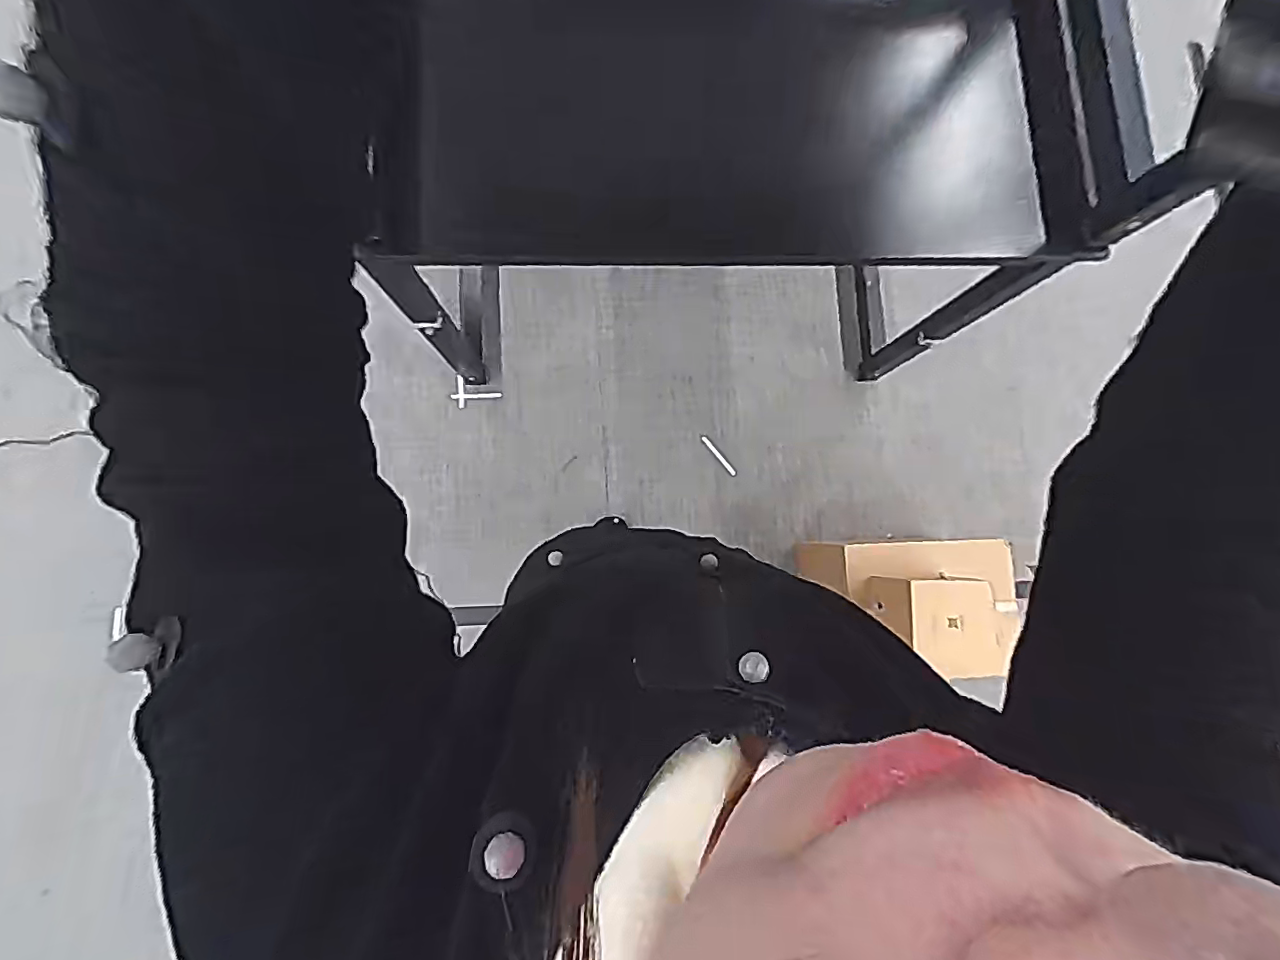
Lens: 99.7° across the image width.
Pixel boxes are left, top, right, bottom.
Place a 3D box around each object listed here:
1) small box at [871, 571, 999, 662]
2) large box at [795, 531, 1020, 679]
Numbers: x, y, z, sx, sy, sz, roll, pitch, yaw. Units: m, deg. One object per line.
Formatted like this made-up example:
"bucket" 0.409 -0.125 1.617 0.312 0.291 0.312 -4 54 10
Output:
"small box" 0.608 0.277 1.129 0.179 0.176 0.168 2 83 -4
"large box" 0.650 0.296 1.377 0.408 0.320 0.320 -2 85 -5
